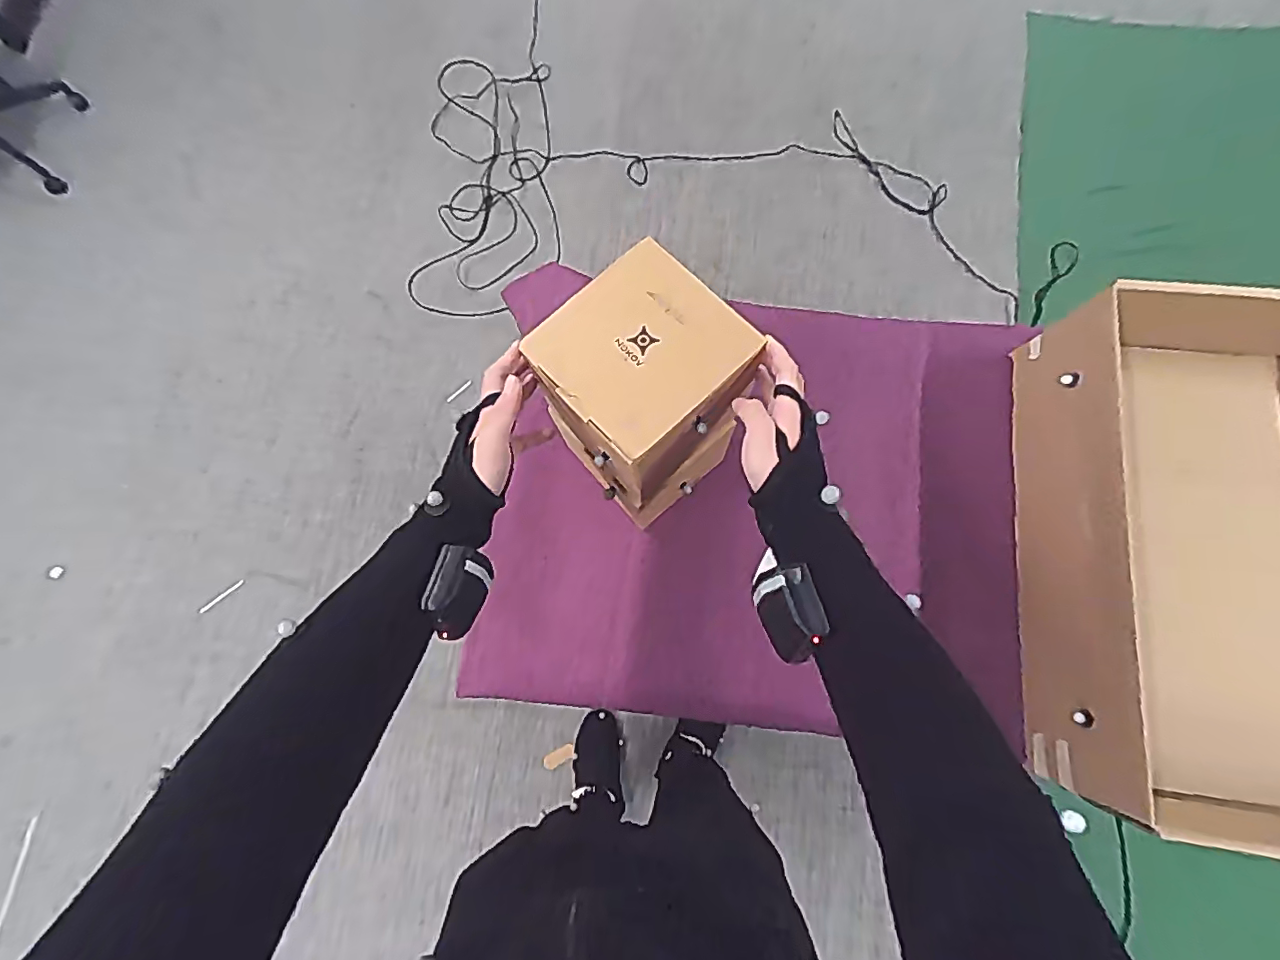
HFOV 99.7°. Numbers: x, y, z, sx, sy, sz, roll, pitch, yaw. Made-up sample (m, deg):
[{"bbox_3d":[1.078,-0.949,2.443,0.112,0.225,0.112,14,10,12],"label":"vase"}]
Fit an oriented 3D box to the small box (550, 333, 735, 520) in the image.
[{"bbox_3d":[0.005,-0.060,0.748,0.168,0.176,0.179,-40,78,-8],"label":"small box"}]
